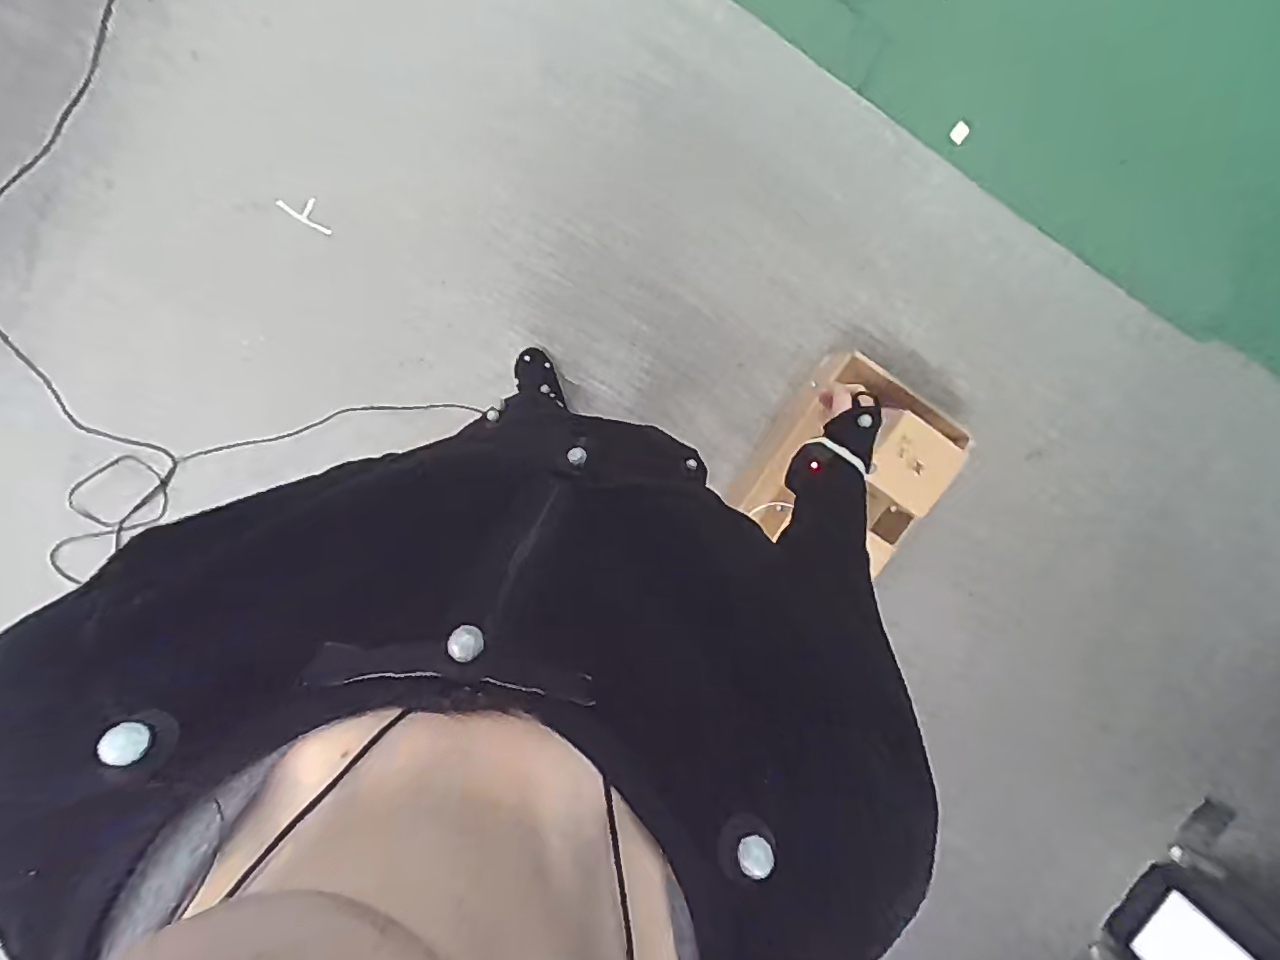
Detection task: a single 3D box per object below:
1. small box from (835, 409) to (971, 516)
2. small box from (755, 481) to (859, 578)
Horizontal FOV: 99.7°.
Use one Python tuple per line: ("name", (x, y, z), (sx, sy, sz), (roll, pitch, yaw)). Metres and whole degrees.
("small box", (0.577, -0.049, 1.208), (0.179, 0.176, 0.168), (36, 96, -6))
("small box", (0.420, 0.119, 1.399), (0.168, 0.176, 0.179), (32, 95, -5))
